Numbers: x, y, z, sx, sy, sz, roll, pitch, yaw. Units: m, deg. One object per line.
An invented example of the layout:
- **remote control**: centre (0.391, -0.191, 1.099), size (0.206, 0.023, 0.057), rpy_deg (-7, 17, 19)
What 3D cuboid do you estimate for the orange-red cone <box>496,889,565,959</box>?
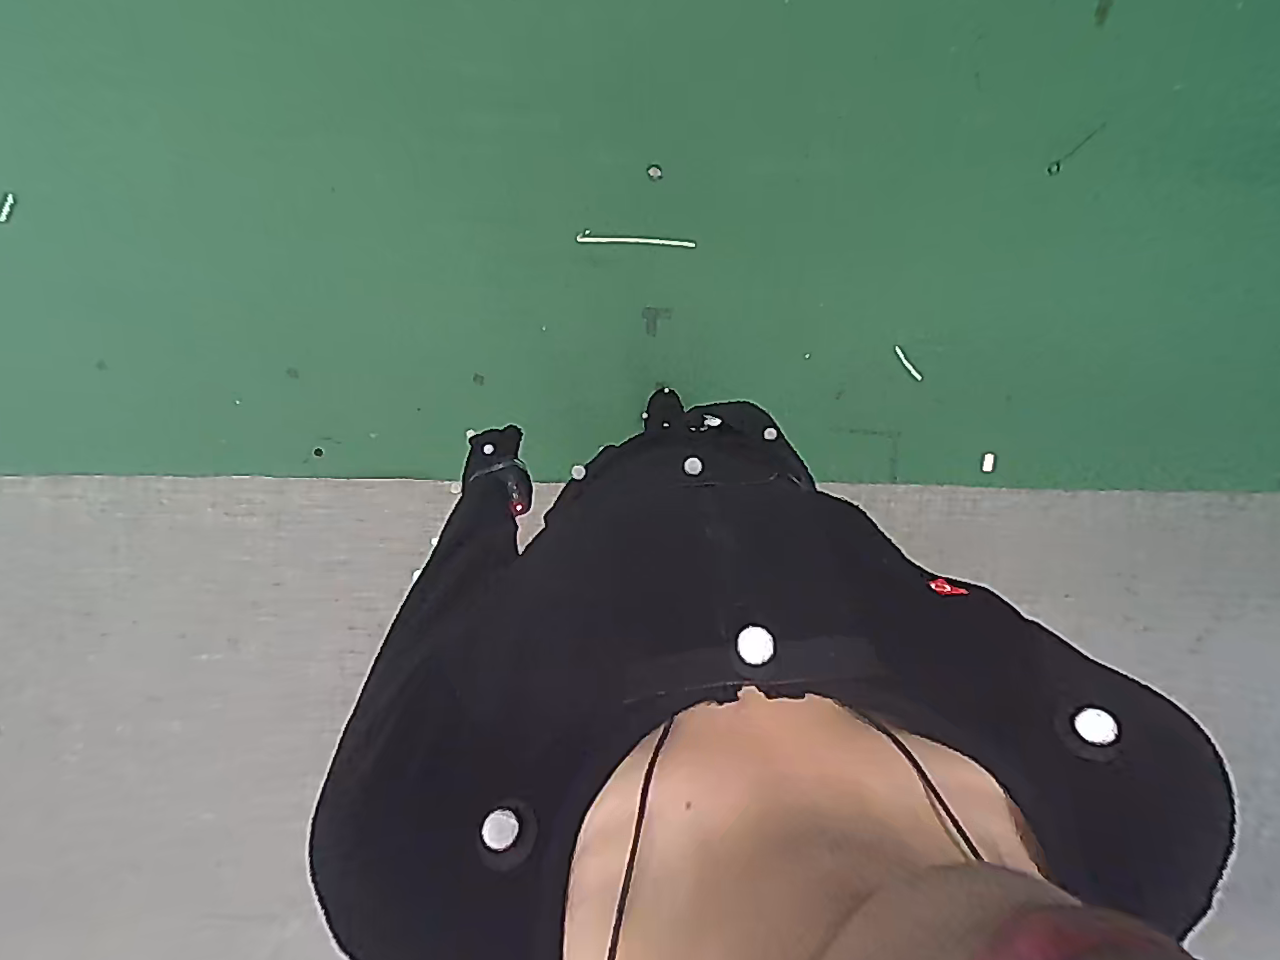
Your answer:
- **orange-red cone**: centre (-0.321, 1.339, 1.457), size (0.198, 0.360, 0.199), rpy_deg (5, 94, -4)
